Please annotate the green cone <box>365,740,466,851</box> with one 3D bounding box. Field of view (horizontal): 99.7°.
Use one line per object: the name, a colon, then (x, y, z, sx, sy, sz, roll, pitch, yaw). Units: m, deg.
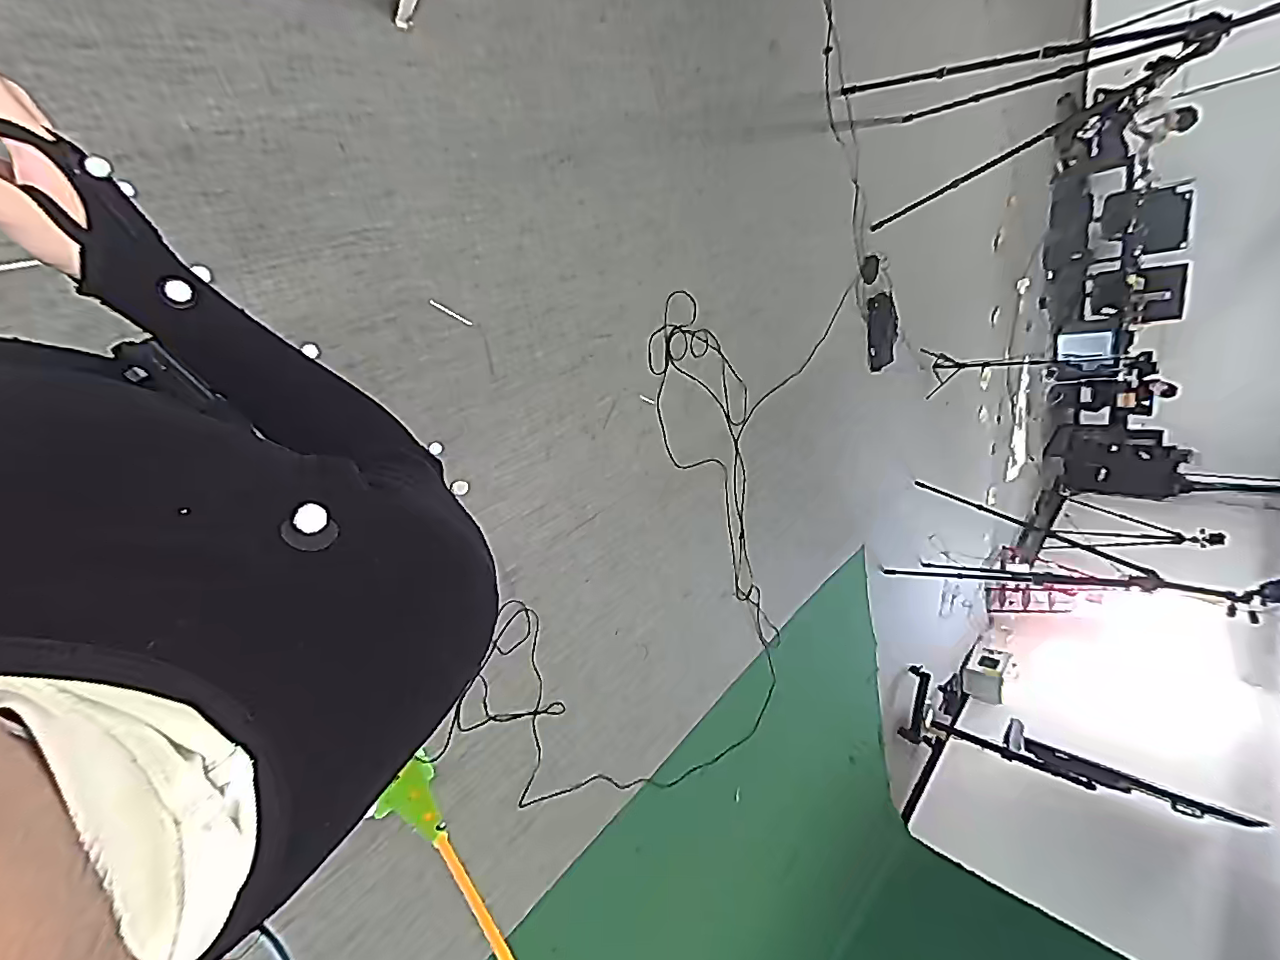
green cone: (-0.612, 0.963, 1.571, 0.202, 0.368, 0.200, -32, 117, -37)
